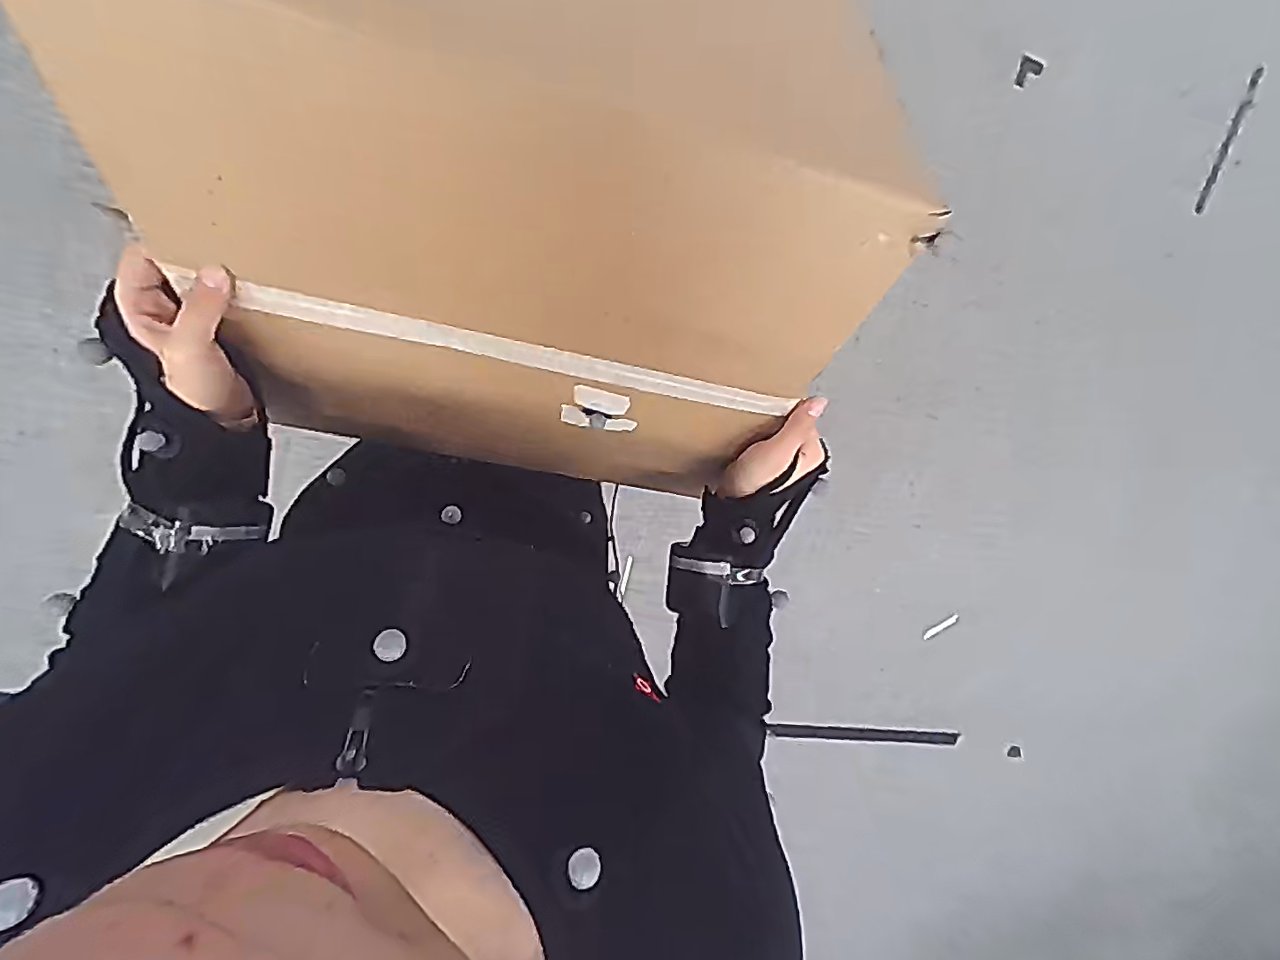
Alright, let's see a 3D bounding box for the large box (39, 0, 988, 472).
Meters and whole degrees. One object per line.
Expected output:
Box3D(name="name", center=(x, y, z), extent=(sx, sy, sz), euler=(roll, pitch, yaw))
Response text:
Box3D(name="large box", center=(-0.065, -0.237, 0.409), extent=(0.408, 0.320, 0.320), euler=(9, 60, -11))
